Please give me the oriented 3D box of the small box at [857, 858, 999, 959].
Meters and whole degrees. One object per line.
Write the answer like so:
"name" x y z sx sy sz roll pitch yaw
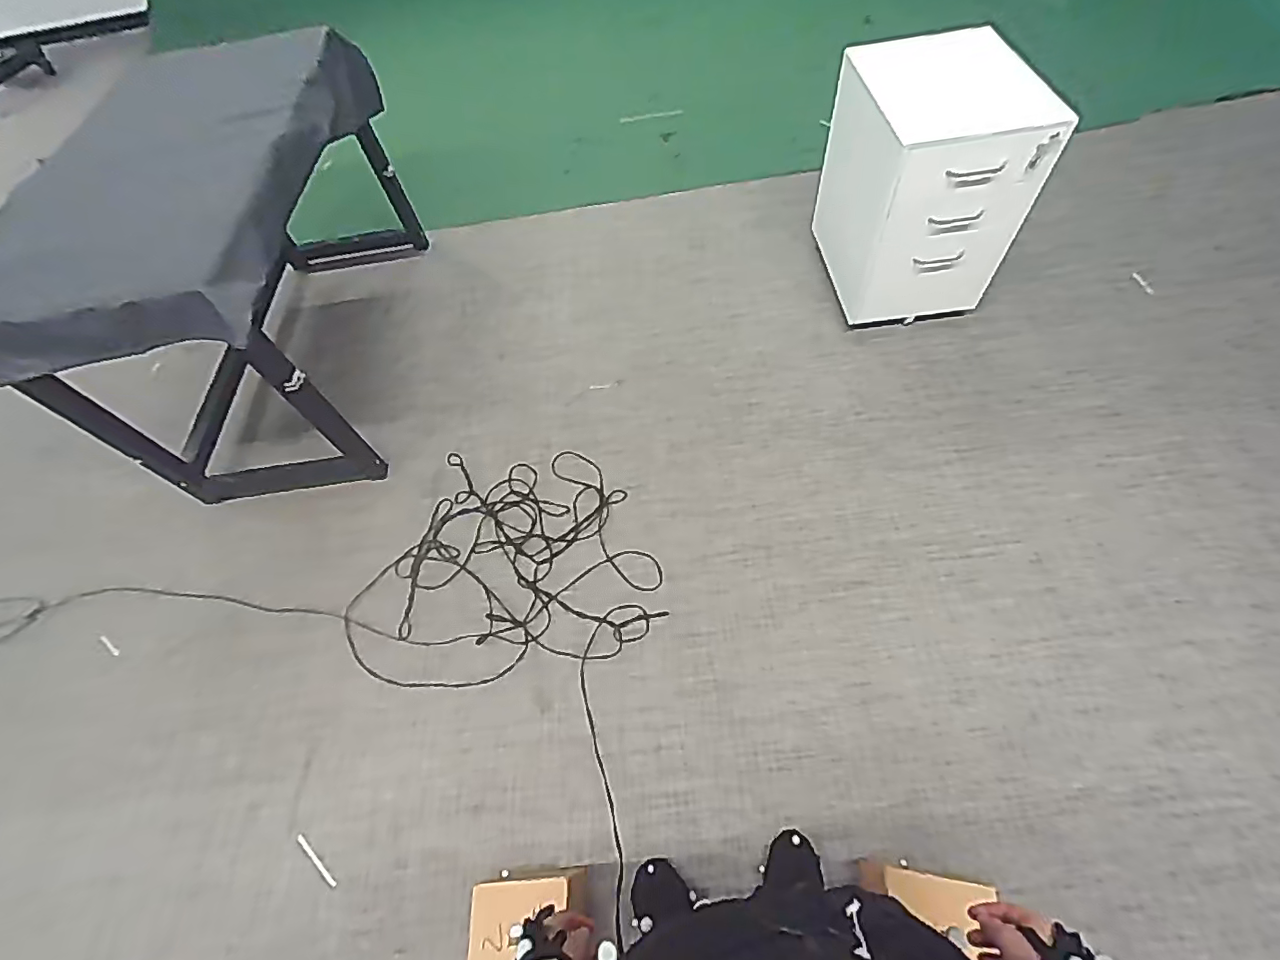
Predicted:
"small box" 0.494 0.778 0.943 0.179 0.176 0.168 4 61 10
